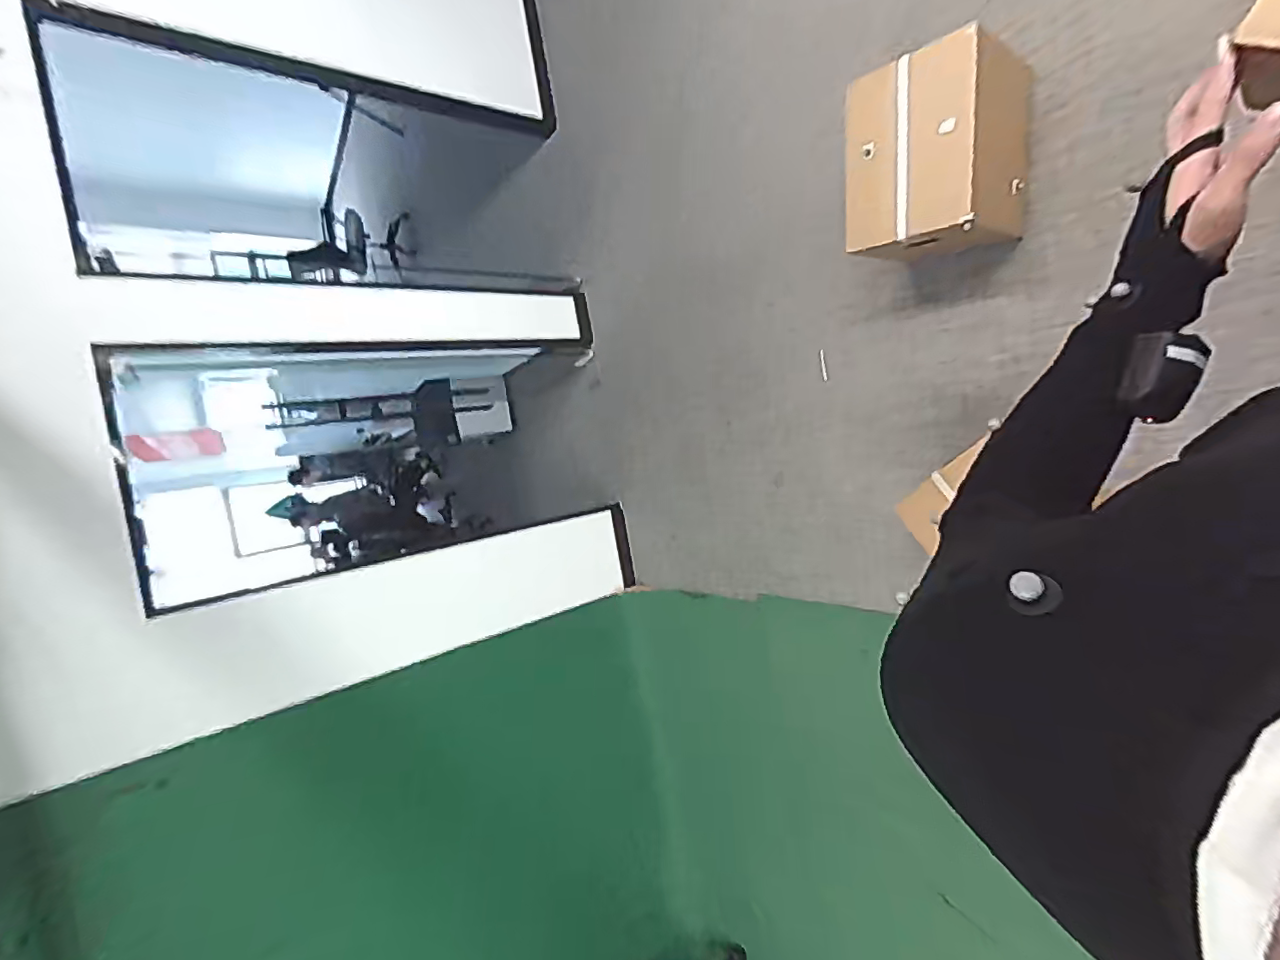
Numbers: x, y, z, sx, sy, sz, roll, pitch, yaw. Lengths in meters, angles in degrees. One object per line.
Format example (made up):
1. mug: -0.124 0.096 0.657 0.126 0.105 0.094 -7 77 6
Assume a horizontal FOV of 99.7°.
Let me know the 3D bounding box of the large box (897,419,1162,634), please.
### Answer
1. large box: 0.960 0.102 1.361 0.408 0.320 0.320 59 141 23
